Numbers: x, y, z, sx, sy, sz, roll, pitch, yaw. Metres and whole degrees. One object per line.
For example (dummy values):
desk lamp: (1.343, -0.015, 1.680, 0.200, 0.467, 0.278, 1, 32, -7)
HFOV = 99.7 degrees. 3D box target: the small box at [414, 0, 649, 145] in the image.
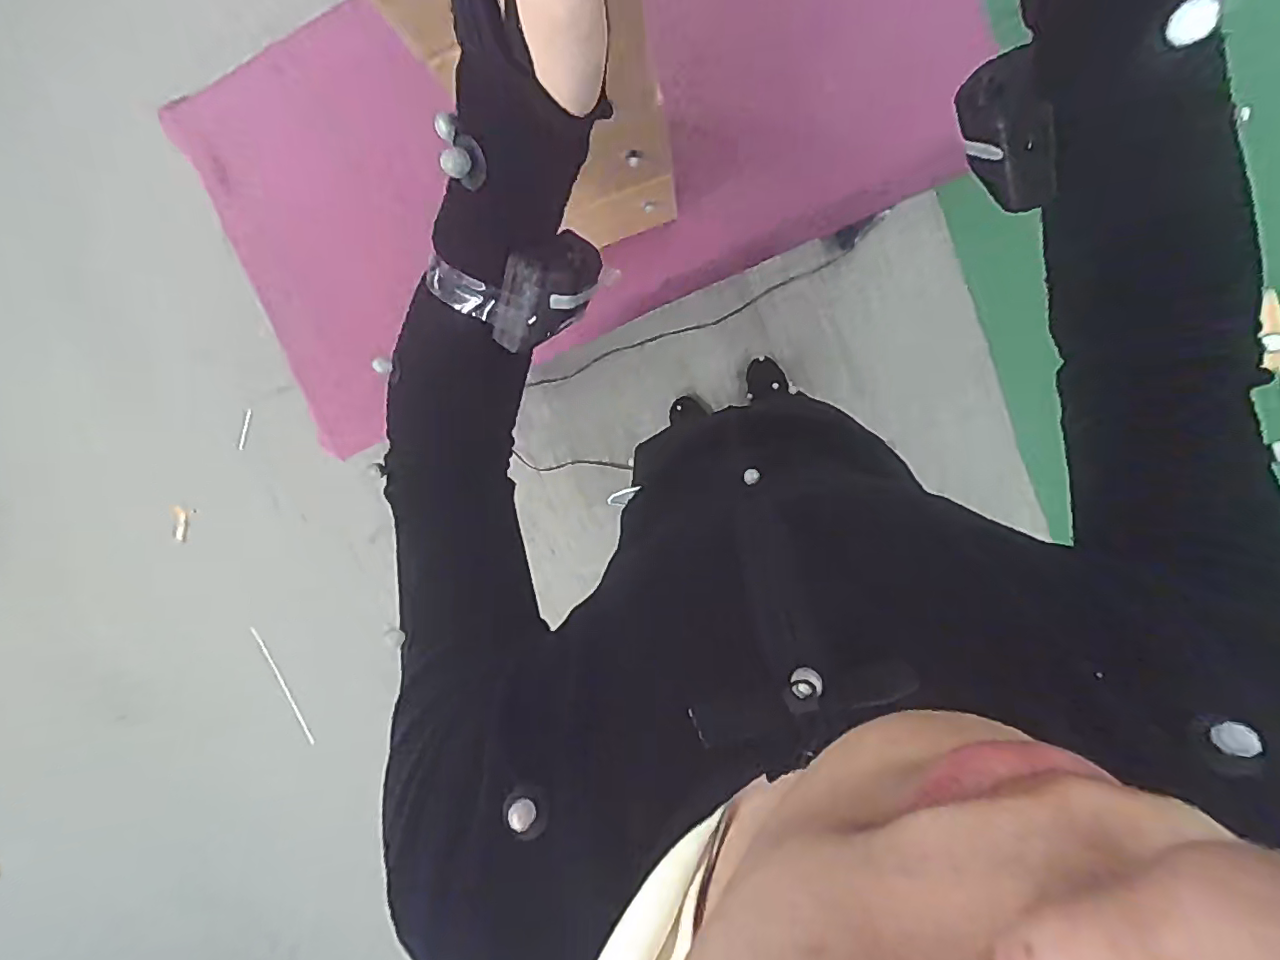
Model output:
small box: (-0.098, -0.417, 0.451, 0.168, 0.176, 0.179, -18, 96, 8)

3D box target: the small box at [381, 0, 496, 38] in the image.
small box: (-0.117, -0.398, 0.289, 0.179, 0.176, 0.168, -20, 95, 8)

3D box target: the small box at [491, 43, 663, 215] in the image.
small box: (-0.077, -0.433, 0.612, 0.179, 0.176, 0.168, -18, 95, 9)
